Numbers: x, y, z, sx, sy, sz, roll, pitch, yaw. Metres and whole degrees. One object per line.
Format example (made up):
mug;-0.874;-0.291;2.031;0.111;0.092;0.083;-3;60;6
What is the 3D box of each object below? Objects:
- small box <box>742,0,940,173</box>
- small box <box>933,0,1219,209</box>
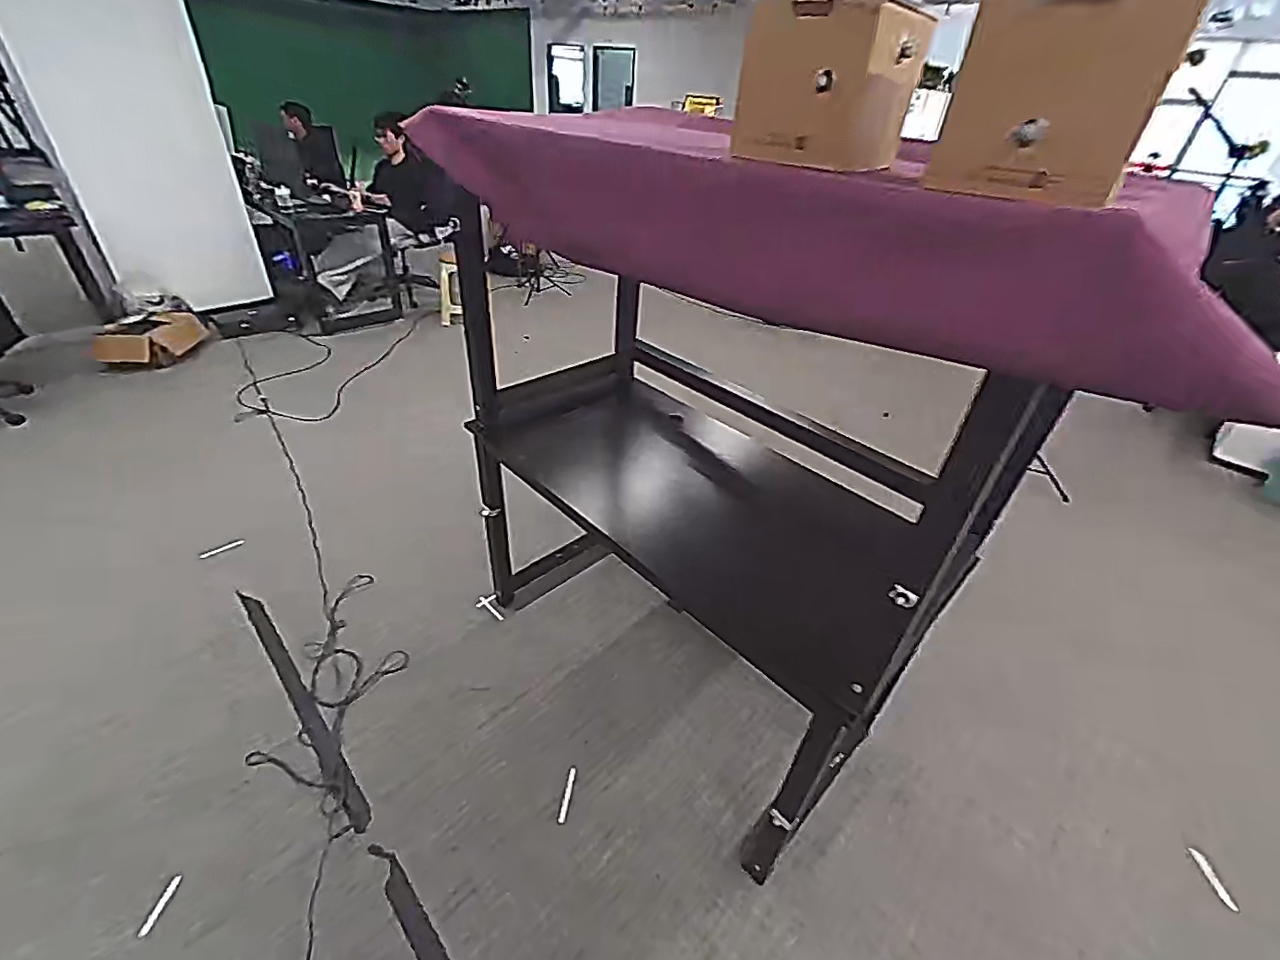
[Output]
small box;0.248;-0.501;0.697;0.168;0.176;0.179;30;42;30
small box;0.422;-0.379;0.540;0.168;0.176;0.179;27;40;29
